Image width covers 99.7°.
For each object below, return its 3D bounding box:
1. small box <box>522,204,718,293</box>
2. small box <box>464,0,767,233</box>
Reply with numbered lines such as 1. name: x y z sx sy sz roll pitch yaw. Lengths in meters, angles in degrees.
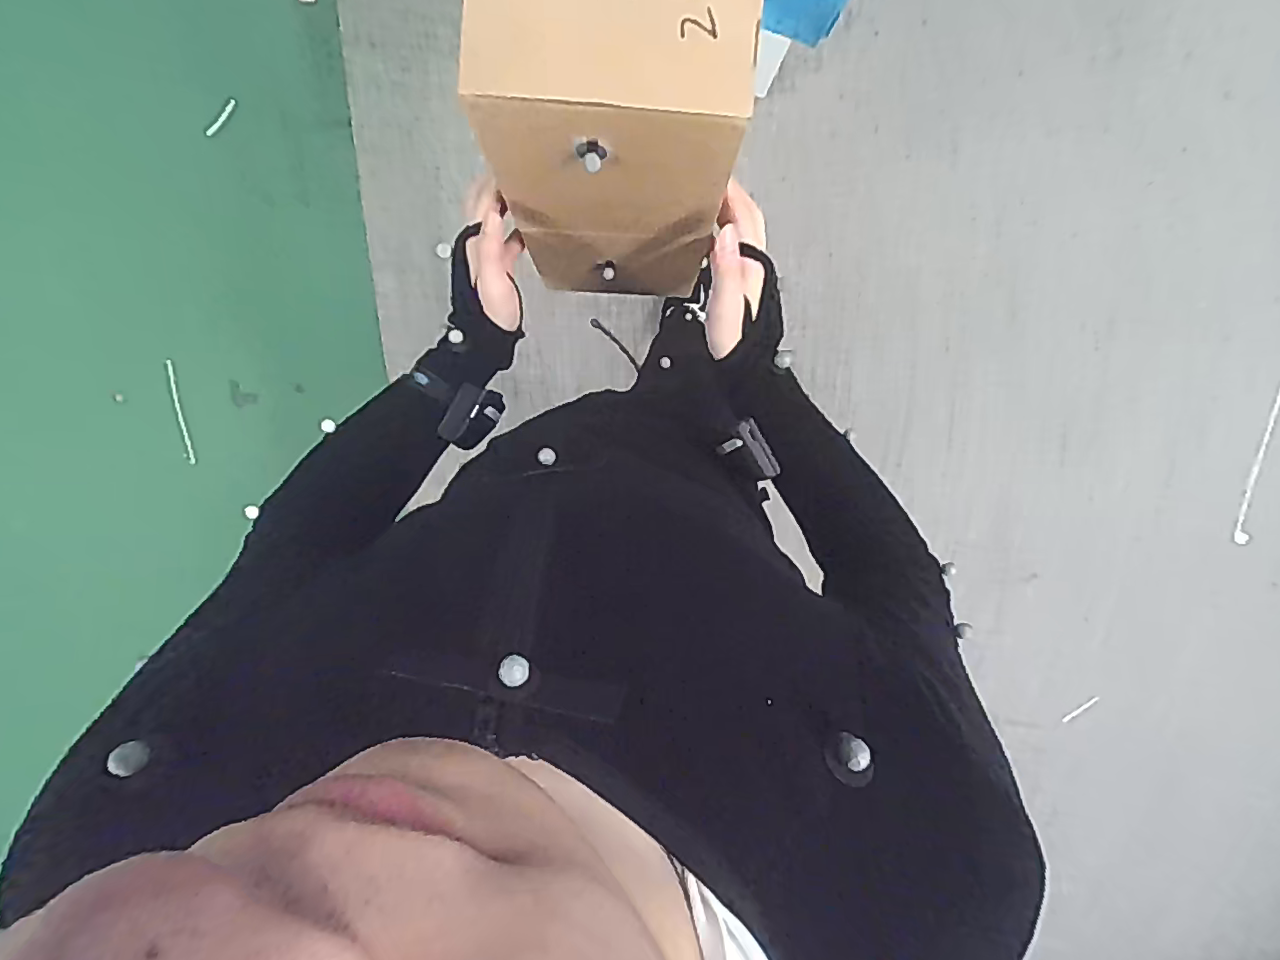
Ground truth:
1. small box: -0.016 -0.304 0.560 0.179 0.176 0.168 3 90 -1
2. small box: -0.012 -0.302 0.396 0.179 0.176 0.168 4 91 -2
